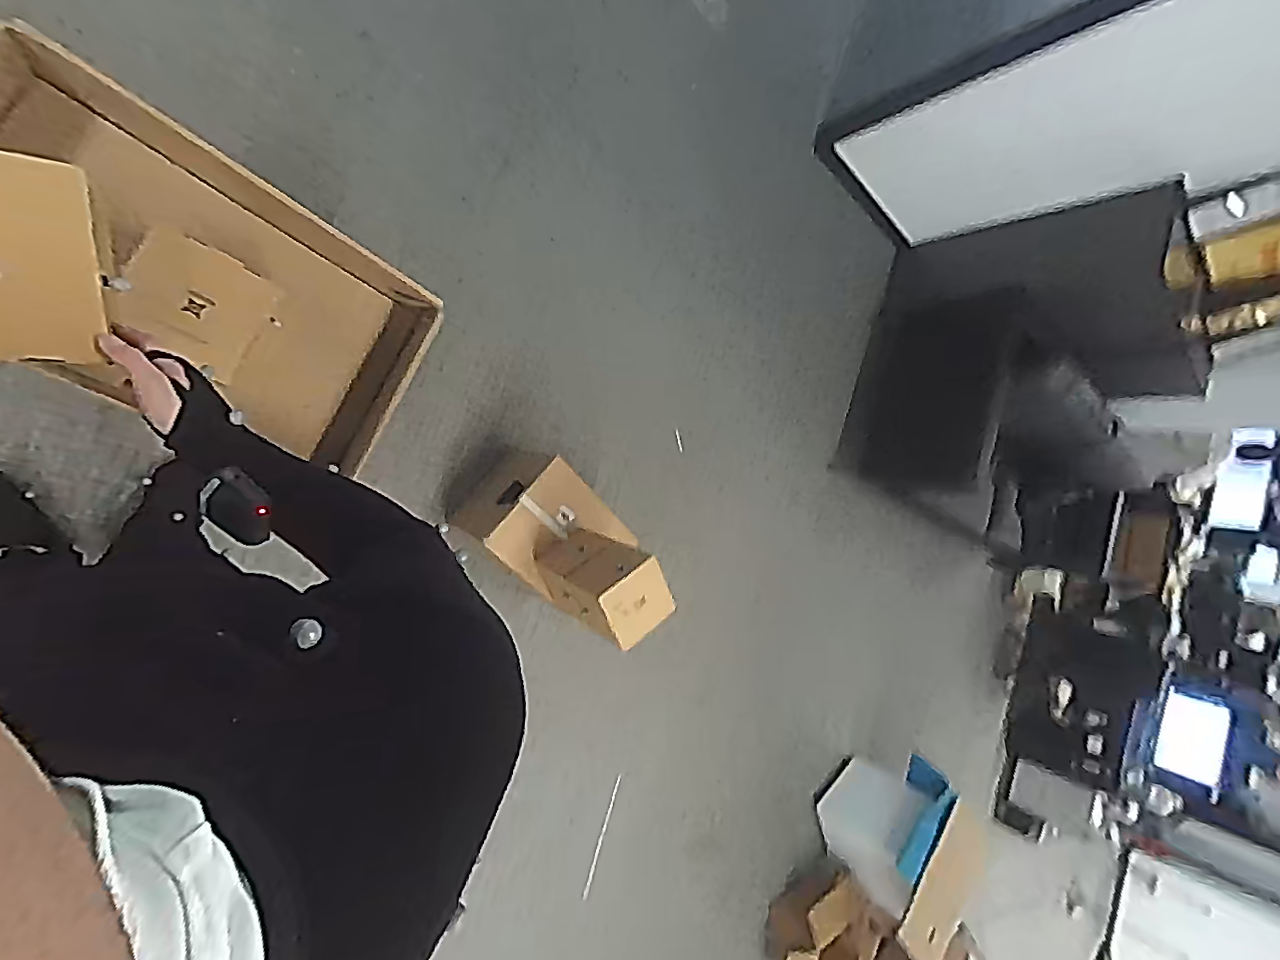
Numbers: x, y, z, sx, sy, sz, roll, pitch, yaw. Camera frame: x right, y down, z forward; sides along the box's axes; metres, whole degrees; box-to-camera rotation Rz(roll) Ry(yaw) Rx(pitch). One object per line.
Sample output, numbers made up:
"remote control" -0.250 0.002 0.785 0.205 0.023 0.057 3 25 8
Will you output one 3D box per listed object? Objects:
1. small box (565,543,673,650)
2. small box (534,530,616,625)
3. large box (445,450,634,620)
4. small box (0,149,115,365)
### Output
"small box" -0.053 0.276 1.332 0.179 0.176 0.168 -33 114 -28
"small box" -0.153 0.255 1.462 0.179 0.176 0.168 -33 115 -29
"large box" -0.303 0.158 1.645 0.408 0.320 0.320 49 67 -30
"small box" -0.614 -0.203 0.502 0.168 0.176 0.179 -8 107 -41
